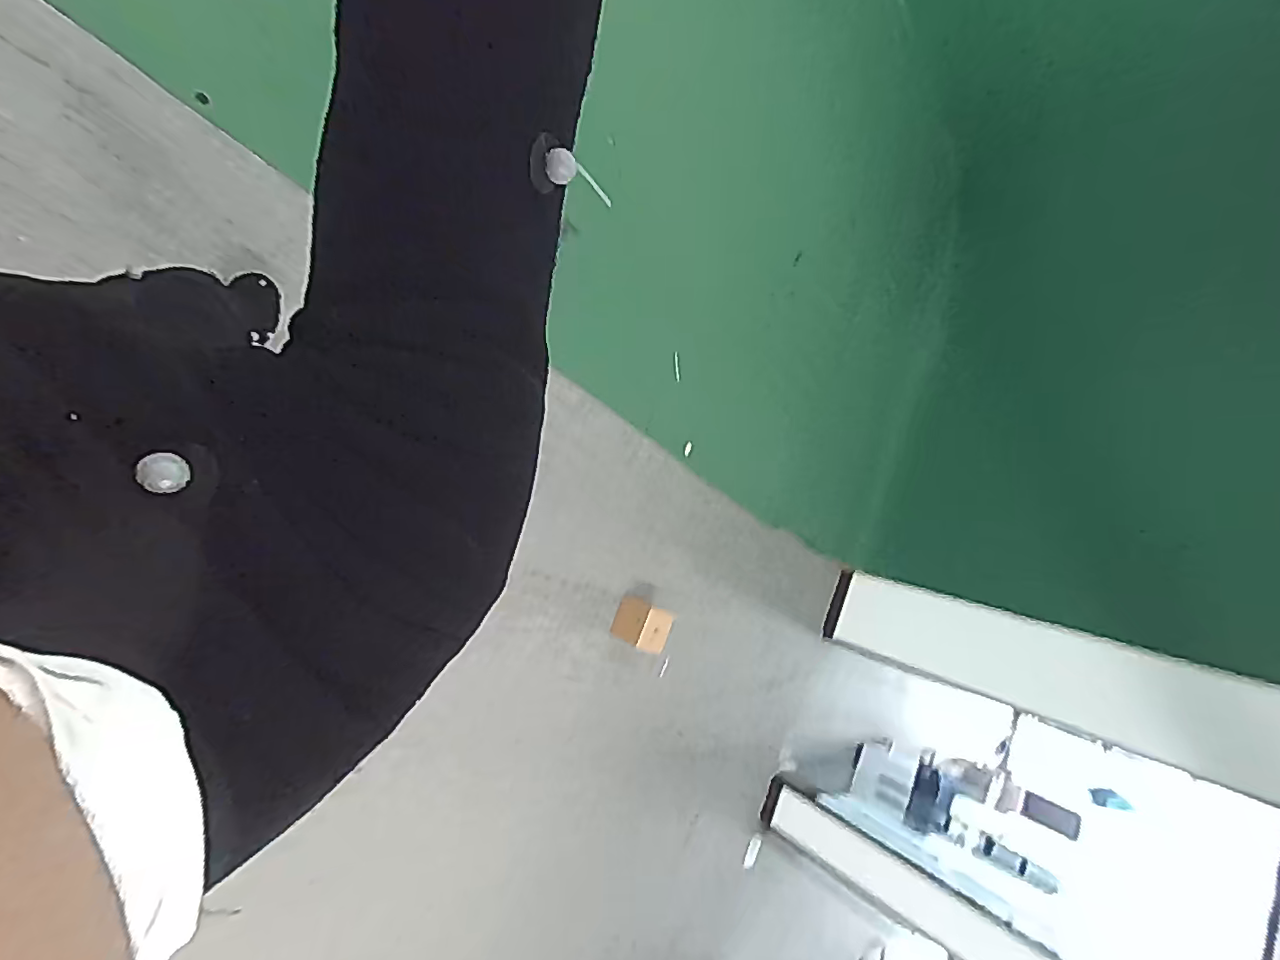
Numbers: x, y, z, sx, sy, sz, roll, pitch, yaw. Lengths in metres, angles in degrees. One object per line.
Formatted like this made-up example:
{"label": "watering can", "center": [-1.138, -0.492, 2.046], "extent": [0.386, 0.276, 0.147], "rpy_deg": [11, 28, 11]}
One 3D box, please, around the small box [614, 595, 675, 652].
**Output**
{"label": "small box", "center": [0.015, 0.605, 2.289], "extent": [0.168, 0.176, 0.179], "rpy_deg": [31, 77, -42]}
